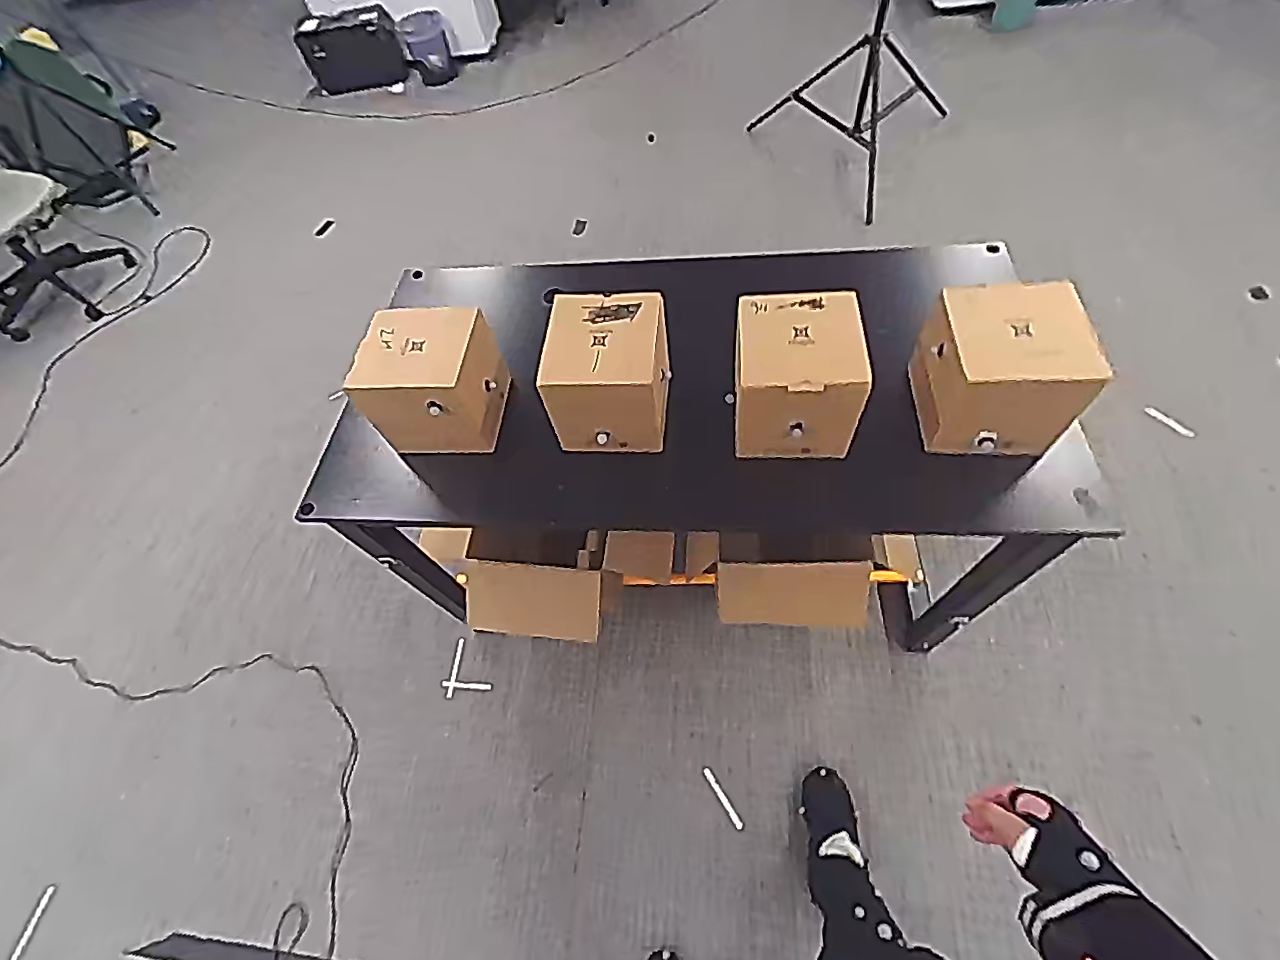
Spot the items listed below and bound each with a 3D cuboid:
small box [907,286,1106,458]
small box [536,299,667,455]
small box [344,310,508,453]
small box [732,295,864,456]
[{"bbox_3d":[0.500,-0.151,0.773,0.168,0.176,0.179,0,59,10],"label":"small box"},{"bbox_3d":[-0.048,-0.160,0.850,0.168,0.176,0.179,1,60,8],"label":"small box"},{"bbox_3d":[-0.332,-0.155,0.882,0.179,0.176,0.168,0,59,7],"label":"small box"},{"bbox_3d":[0.224,-0.148,0.808,0.168,0.176,0.179,0,59,8],"label":"small box"}]
